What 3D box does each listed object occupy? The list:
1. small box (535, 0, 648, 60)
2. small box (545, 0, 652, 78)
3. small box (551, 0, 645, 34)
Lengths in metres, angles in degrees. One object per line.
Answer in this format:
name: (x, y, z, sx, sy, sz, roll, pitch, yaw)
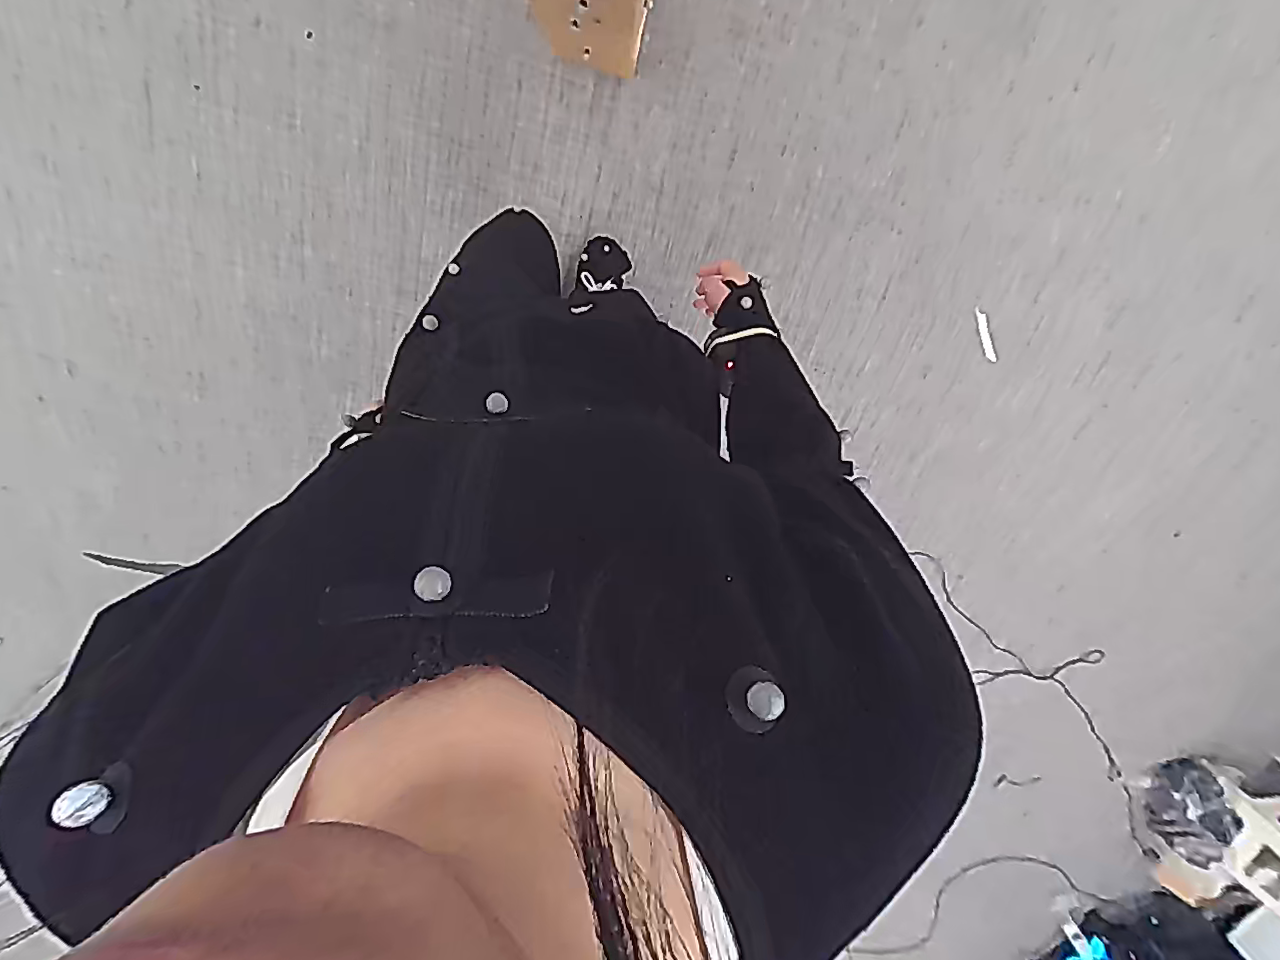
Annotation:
small box: (-0.074, -0.839, 0.898, 0.179, 0.176, 0.168, 16, 115, -10)
small box: (-0.073, -0.911, 1.046, 0.179, 0.176, 0.168, 13, 114, -9)
small box: (-0.057, -0.769, 0.751, 0.168, 0.176, 0.179, 15, 115, -10)
